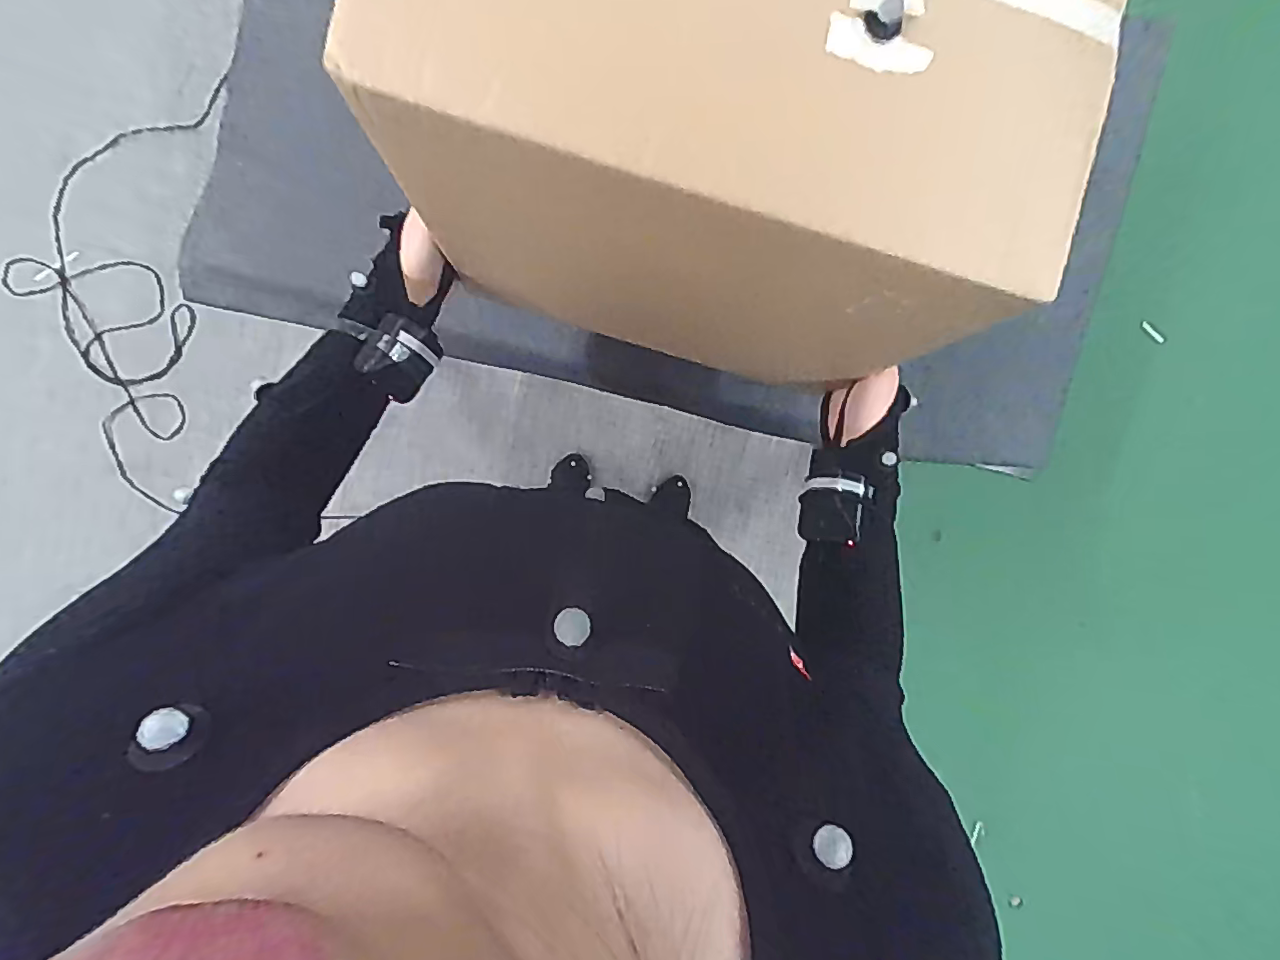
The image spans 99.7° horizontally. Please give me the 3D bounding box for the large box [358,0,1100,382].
[{"bbox_3d":[0.060,-0.304,0.455,0.408,0.320,0.320,15,89,-5],"label":"large box"}]
